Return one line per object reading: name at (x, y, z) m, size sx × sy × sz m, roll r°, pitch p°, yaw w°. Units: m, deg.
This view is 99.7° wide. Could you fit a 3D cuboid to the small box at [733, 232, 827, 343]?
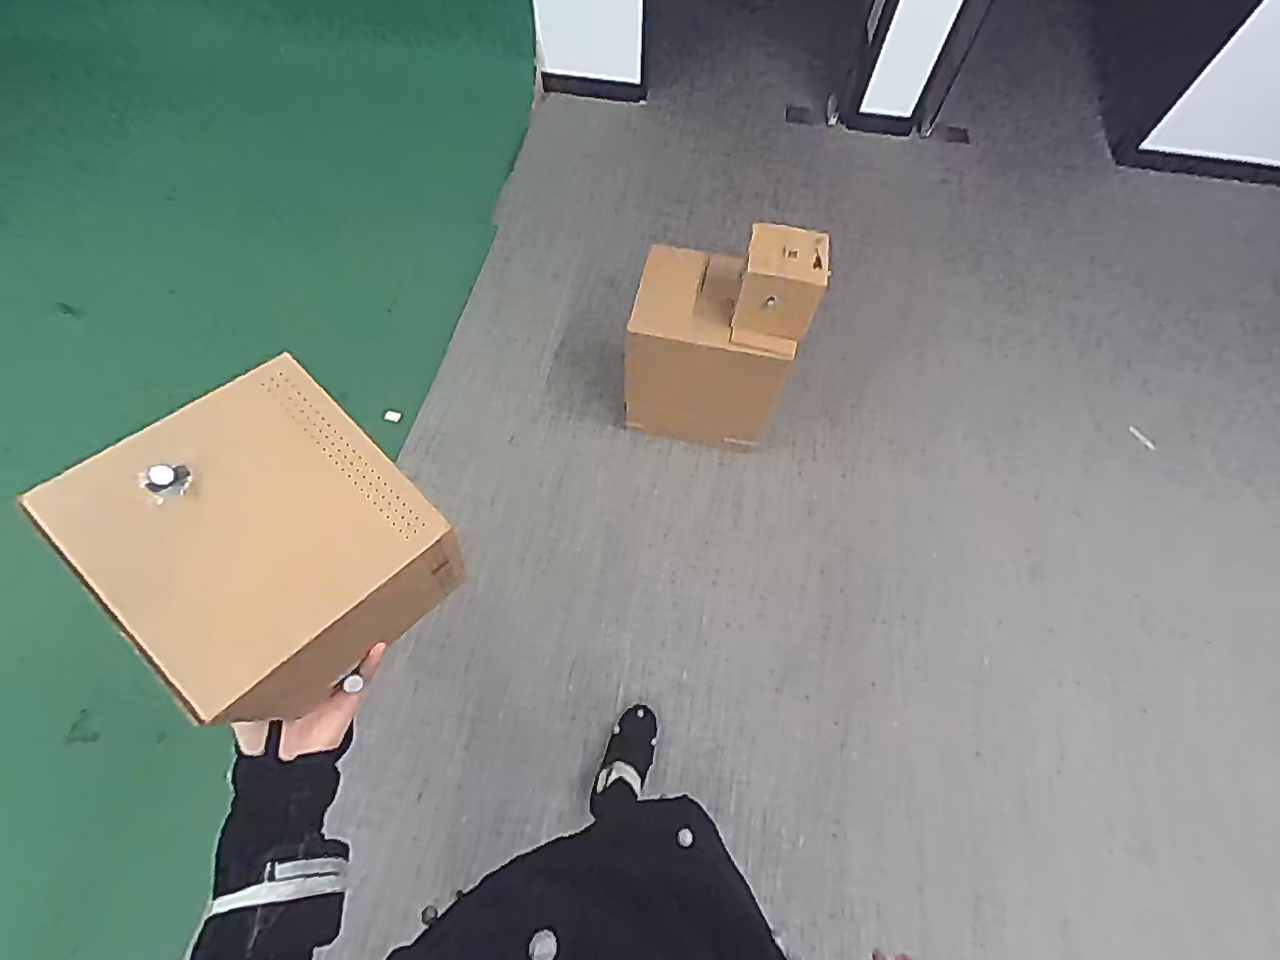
small box at (0.319, -0.441, 1.254) m, size 0.179 × 0.176 × 0.168 m, roll 10°, pitch 63°, yaw 4°
